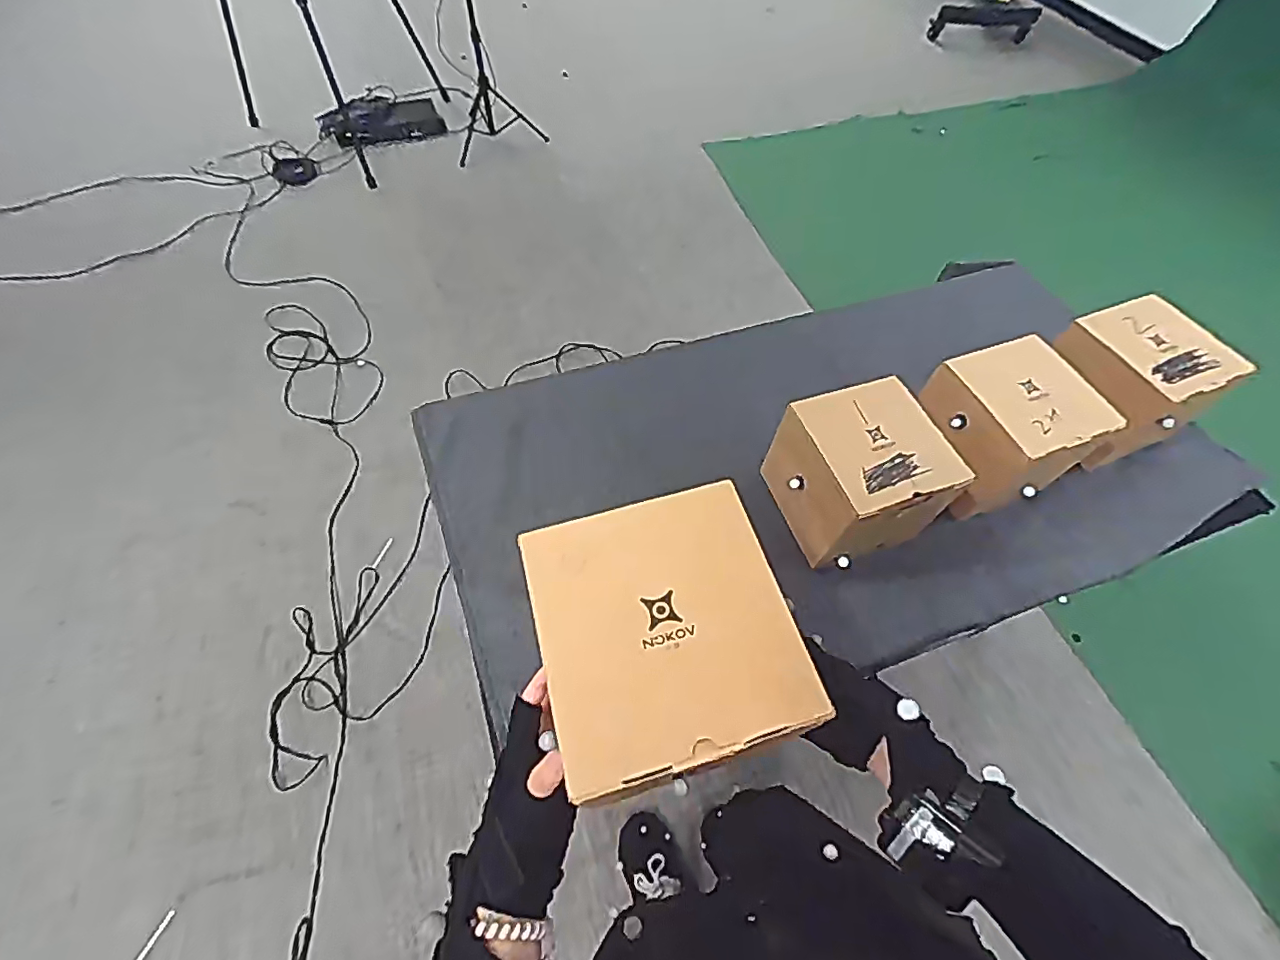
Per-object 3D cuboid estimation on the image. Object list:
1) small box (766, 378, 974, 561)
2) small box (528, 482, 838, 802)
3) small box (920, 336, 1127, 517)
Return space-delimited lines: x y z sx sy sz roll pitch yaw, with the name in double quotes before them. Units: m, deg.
"small box" 0.294 -0.006 0.737 0.168 0.176 0.179 -15 60 -12
"small box" 0.018 0.132 0.424 0.168 0.176 0.179 -14 60 -9
"small box" 0.521 -0.075 0.789 0.168 0.176 0.179 -17 61 -12
